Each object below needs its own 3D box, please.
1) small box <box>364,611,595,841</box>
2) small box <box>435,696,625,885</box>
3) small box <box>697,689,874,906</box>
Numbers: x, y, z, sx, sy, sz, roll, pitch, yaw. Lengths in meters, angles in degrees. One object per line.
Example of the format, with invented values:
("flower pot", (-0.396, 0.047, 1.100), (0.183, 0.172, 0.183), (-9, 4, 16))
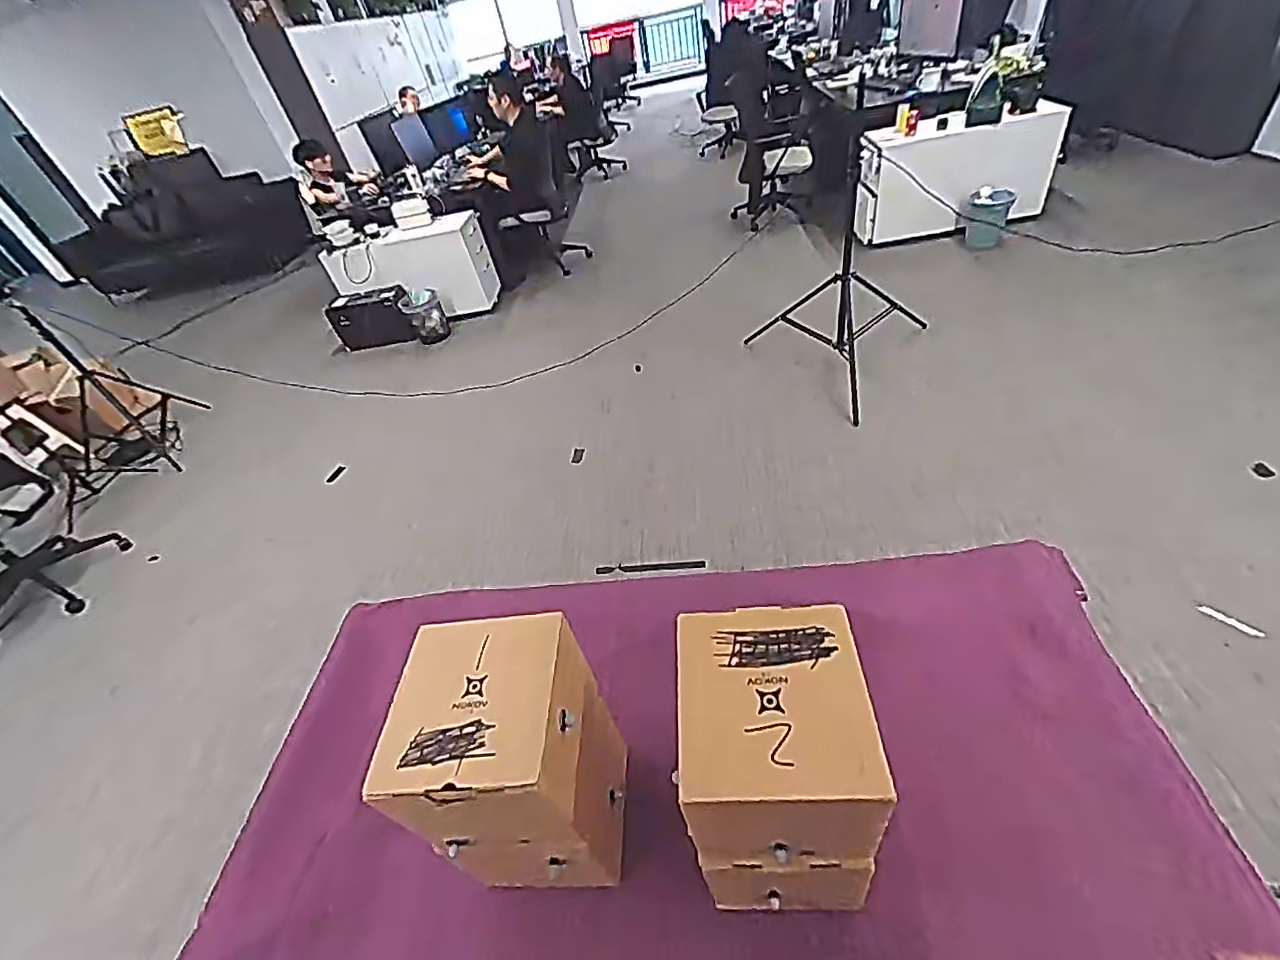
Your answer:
("small box", (-0.149, 0.267, 0.578), (0.168, 0.176, 0.179), (-7, 41, 7))
("small box", (-0.120, 0.392, 0.682), (0.179, 0.176, 0.168), (-6, 42, 9))
("small box", (0.157, 0.369, 0.632), (0.168, 0.176, 0.179), (-7, 42, 9))
